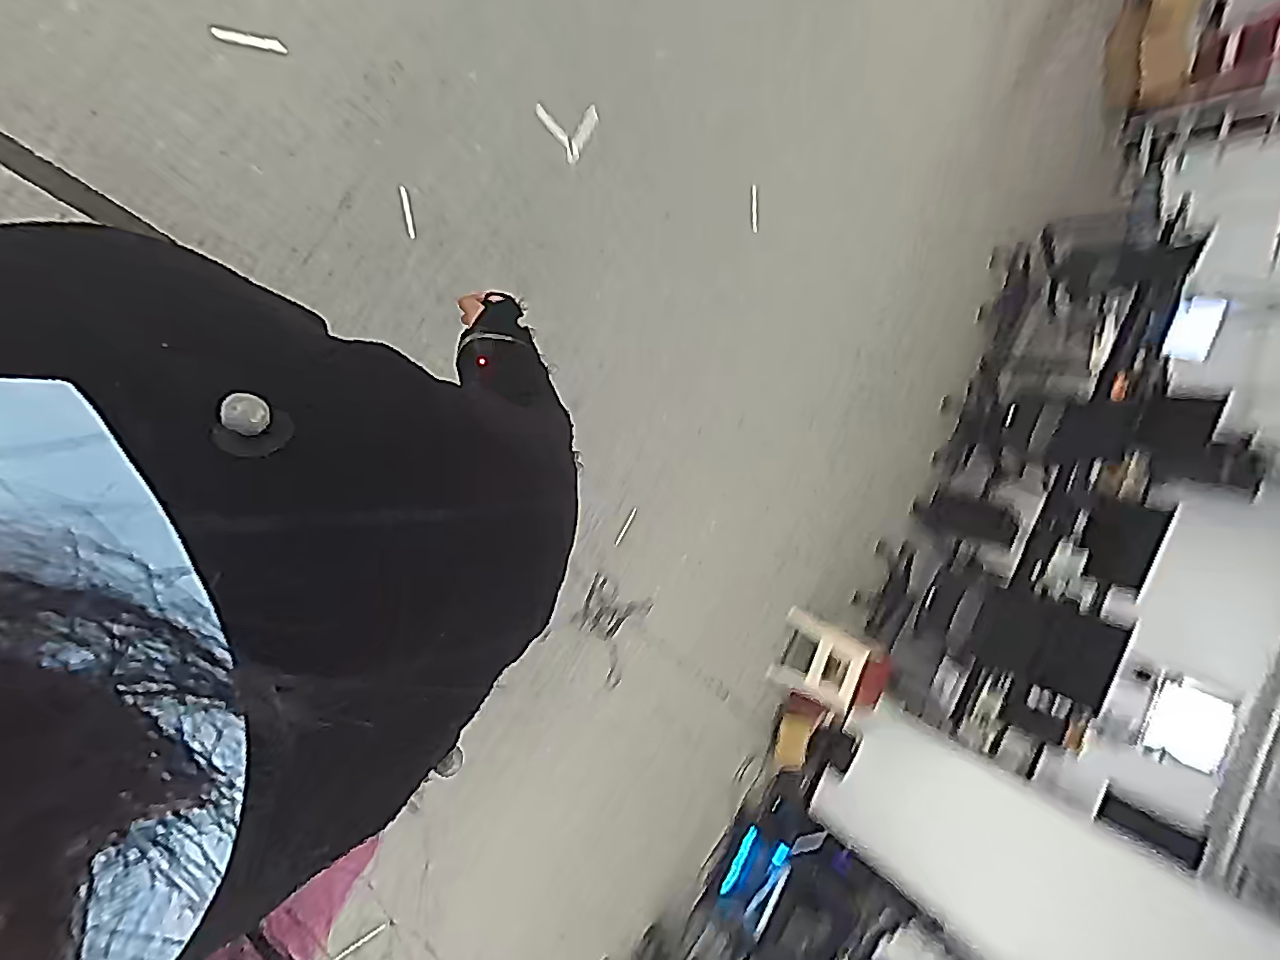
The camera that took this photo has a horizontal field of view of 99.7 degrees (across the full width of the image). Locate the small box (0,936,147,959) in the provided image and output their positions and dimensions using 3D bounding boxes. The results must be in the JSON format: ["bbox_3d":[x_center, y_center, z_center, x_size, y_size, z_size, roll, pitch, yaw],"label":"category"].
[{"bbox_3d":[-0.668,0.635,0.576,0.168,0.176,0.179,34,81,-41],"label":"small box"}]
